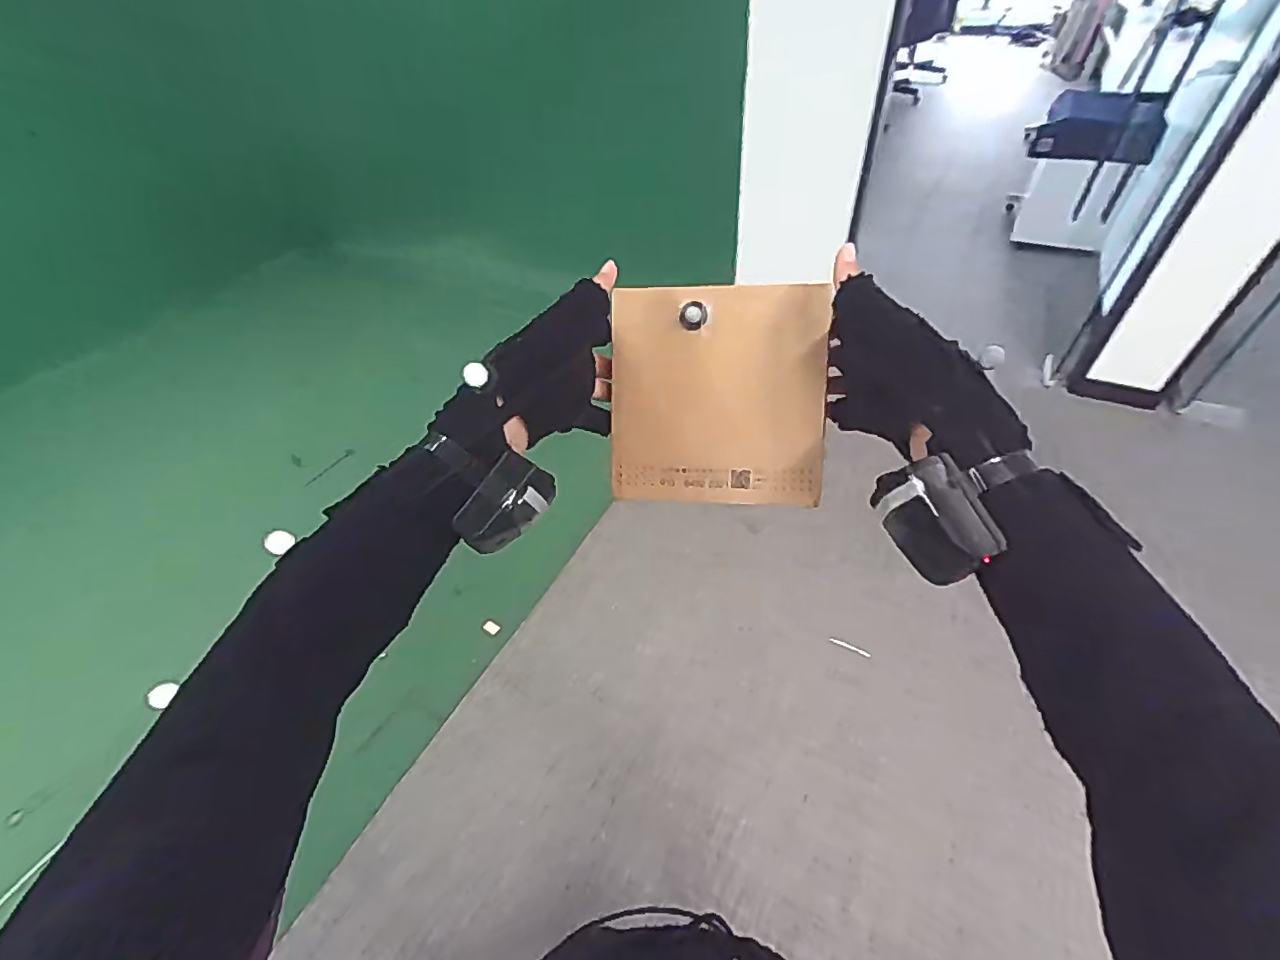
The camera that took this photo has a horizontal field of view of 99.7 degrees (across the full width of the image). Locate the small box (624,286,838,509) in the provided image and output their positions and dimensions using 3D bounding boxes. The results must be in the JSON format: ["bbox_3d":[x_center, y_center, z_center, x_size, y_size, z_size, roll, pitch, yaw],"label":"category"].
[{"bbox_3d":[0.080,-0.072,0.502,0.168,0.176,0.179,2,6,11],"label":"small box"}]
